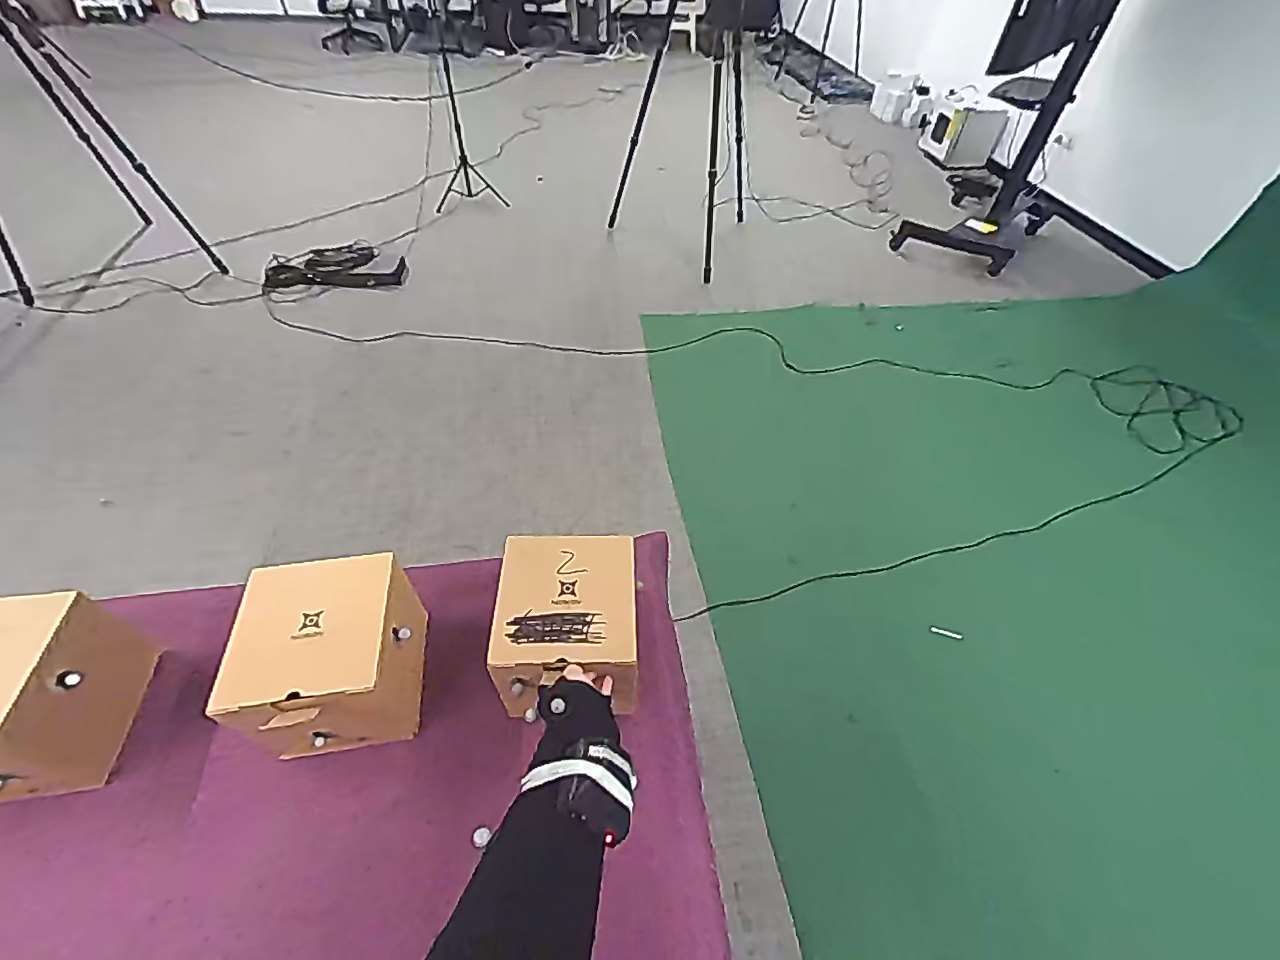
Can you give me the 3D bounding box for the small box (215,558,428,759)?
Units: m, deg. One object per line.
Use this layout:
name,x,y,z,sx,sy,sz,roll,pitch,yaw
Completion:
small box,-0.373,0.223,0.676,0.168,0.176,0.179,-7,50,-8

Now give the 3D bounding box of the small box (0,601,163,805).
small box,-0.716,0.265,0.628,0.168,0.176,0.179,-5,49,-8
